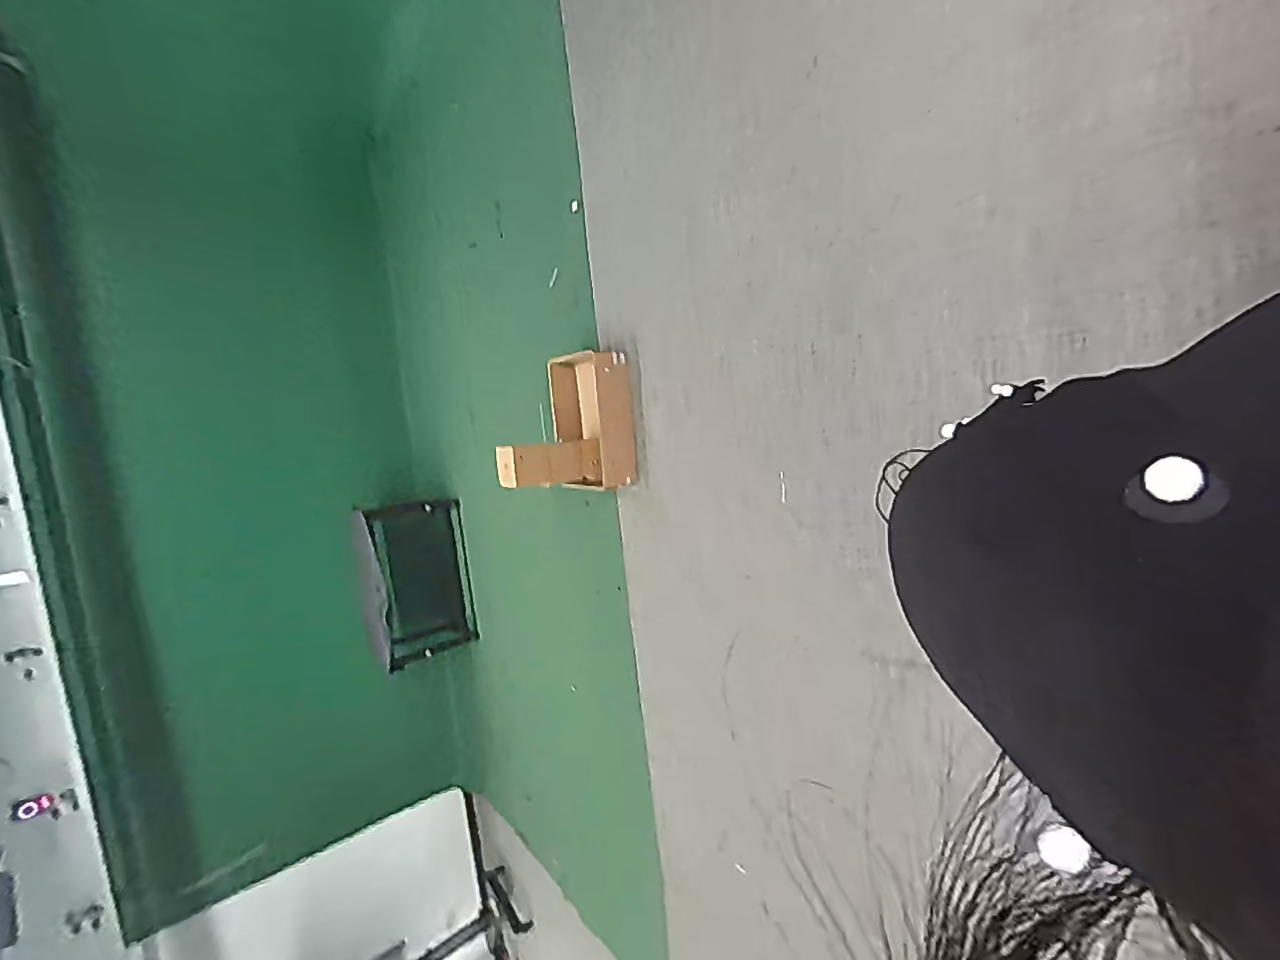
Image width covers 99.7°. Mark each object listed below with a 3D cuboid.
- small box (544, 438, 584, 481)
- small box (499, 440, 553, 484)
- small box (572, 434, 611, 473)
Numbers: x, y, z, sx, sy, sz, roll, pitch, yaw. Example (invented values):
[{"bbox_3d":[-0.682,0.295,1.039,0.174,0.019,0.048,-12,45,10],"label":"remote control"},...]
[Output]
[{"bbox_3d":[-0.371,-0.098,2.476,0.168,0.176,0.179,4,101,50],"label":"small box"},{"bbox_3d":[-0.498,-0.085,2.371,0.168,0.176,0.179,4,101,51],"label":"small box"},{"bbox_3d":[-0.251,-0.128,2.585,0.179,0.176,0.168,3,100,50],"label":"small box"}]
